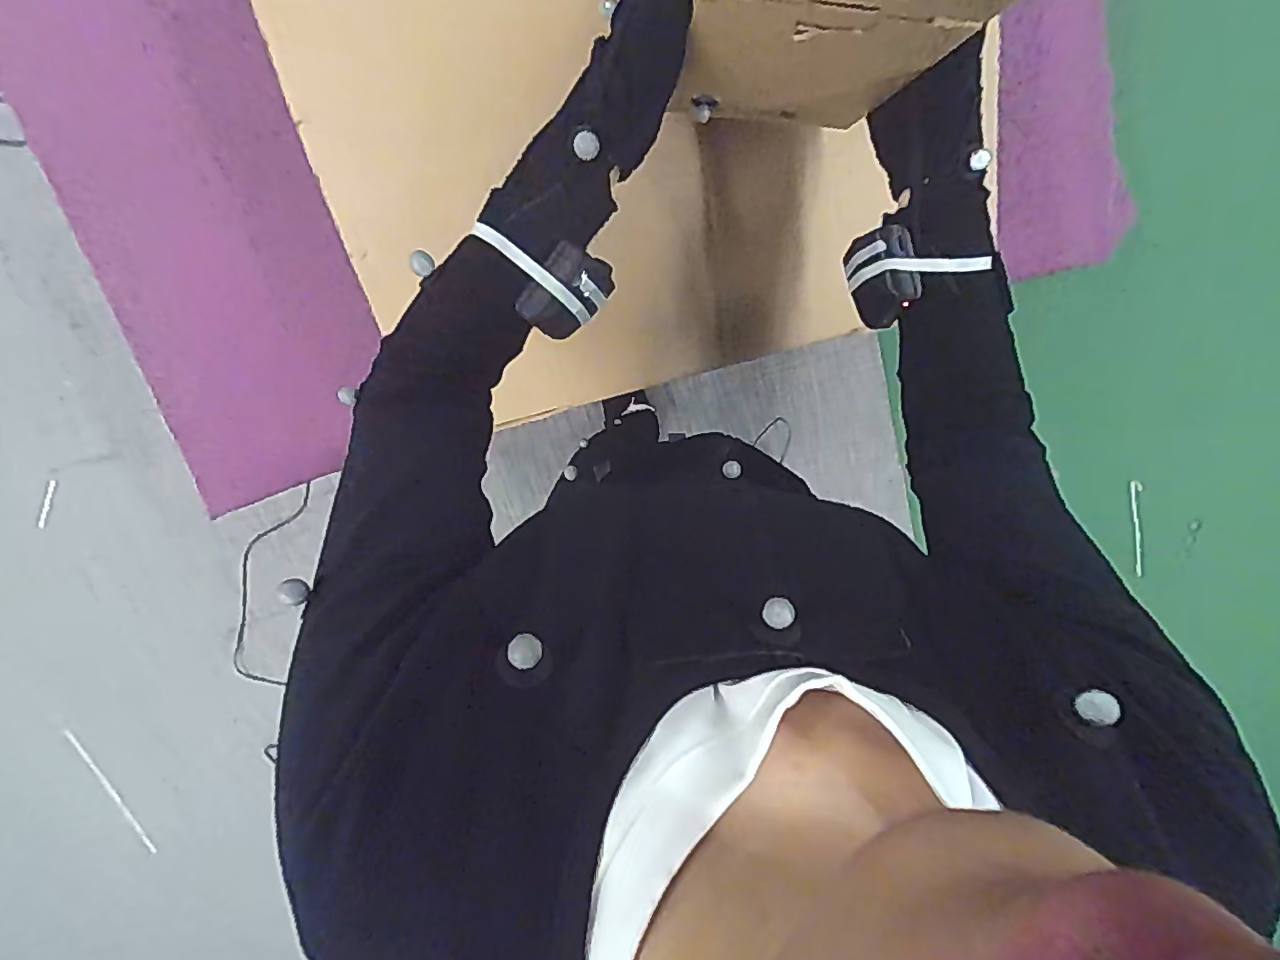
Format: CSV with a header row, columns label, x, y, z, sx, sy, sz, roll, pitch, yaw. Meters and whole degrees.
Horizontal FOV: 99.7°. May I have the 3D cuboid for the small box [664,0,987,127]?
label,x,y,z,sx,sy,sz,roll,pitch,yaw
small box,0.110,-0.358,0.352,0.168,0.176,0.179,2,105,-6
